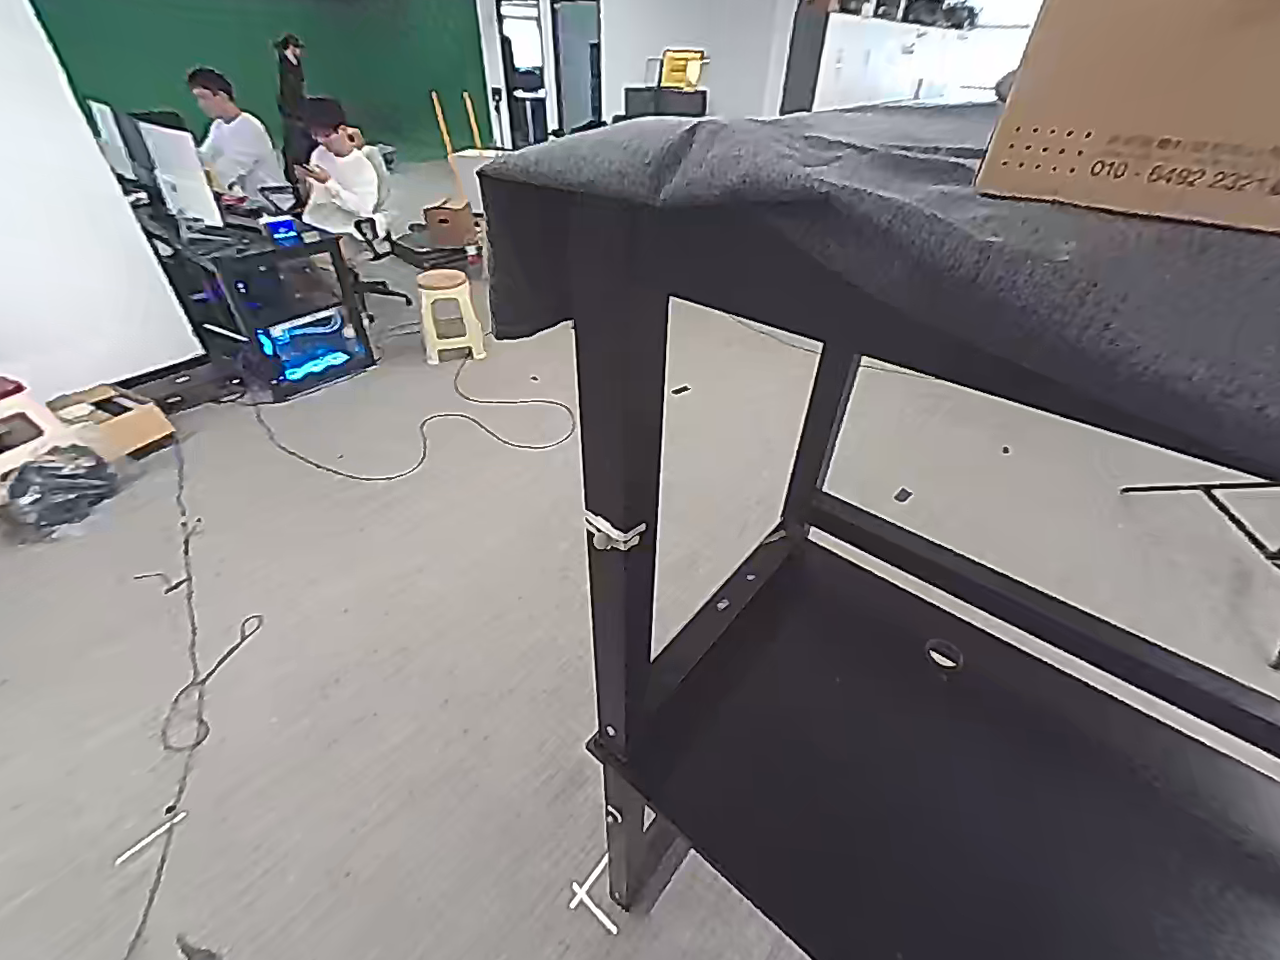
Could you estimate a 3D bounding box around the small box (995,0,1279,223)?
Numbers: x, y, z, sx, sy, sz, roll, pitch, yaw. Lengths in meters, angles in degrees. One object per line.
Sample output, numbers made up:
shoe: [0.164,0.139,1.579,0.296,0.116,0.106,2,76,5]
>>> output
small box: [0.274,-0.209,0.217,0.168,0.176,0.179,26,43,26]
